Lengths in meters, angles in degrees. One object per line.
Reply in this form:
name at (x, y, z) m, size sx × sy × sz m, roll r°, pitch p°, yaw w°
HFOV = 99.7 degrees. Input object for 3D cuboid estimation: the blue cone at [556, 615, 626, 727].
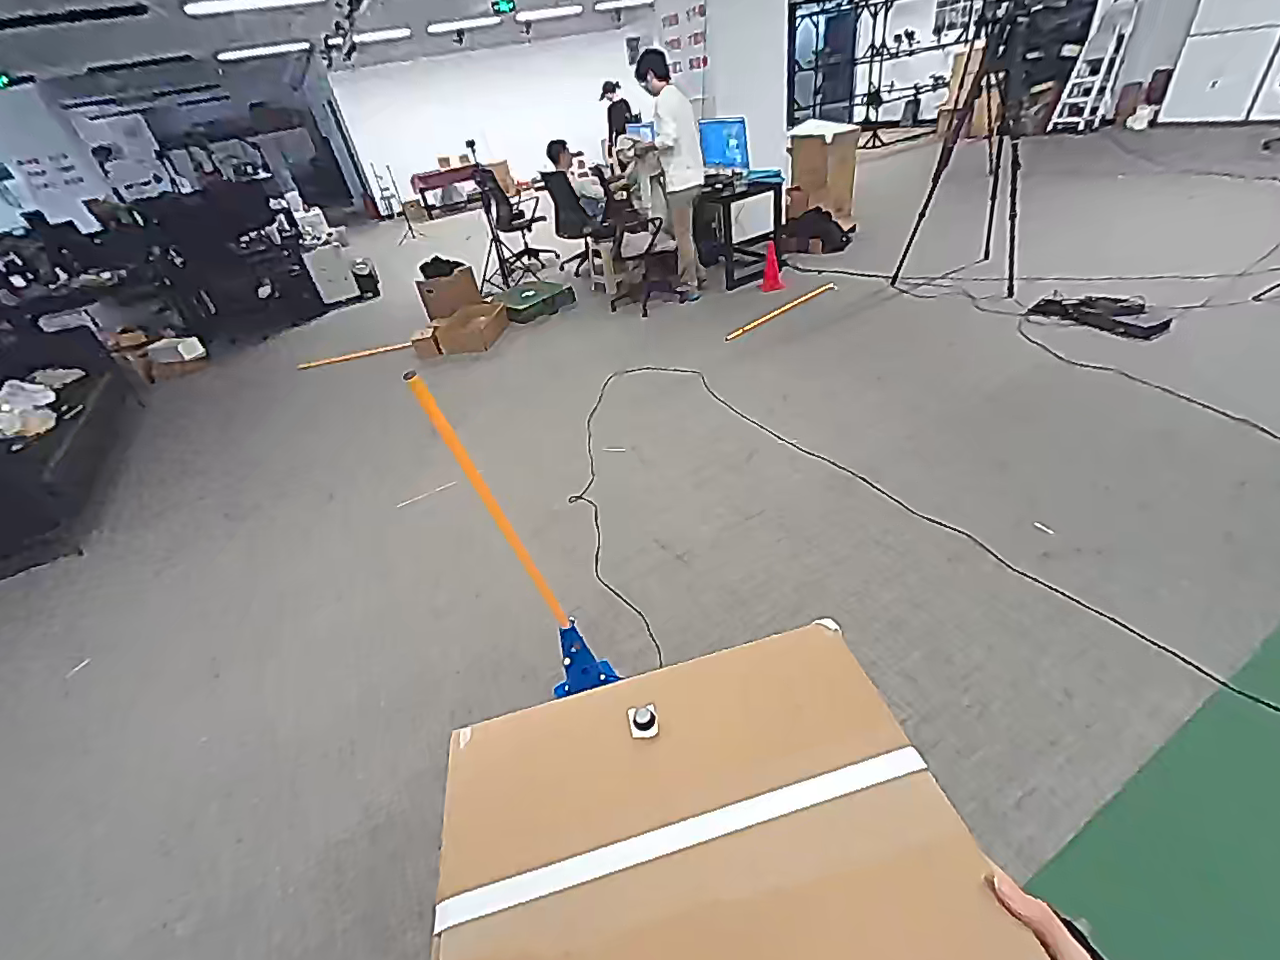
blue cone at (-0.182, 0.540, 1.610) m, size 0.193 × 0.380 × 0.192 m, roll -28°, pitch 39°, yaw -20°
